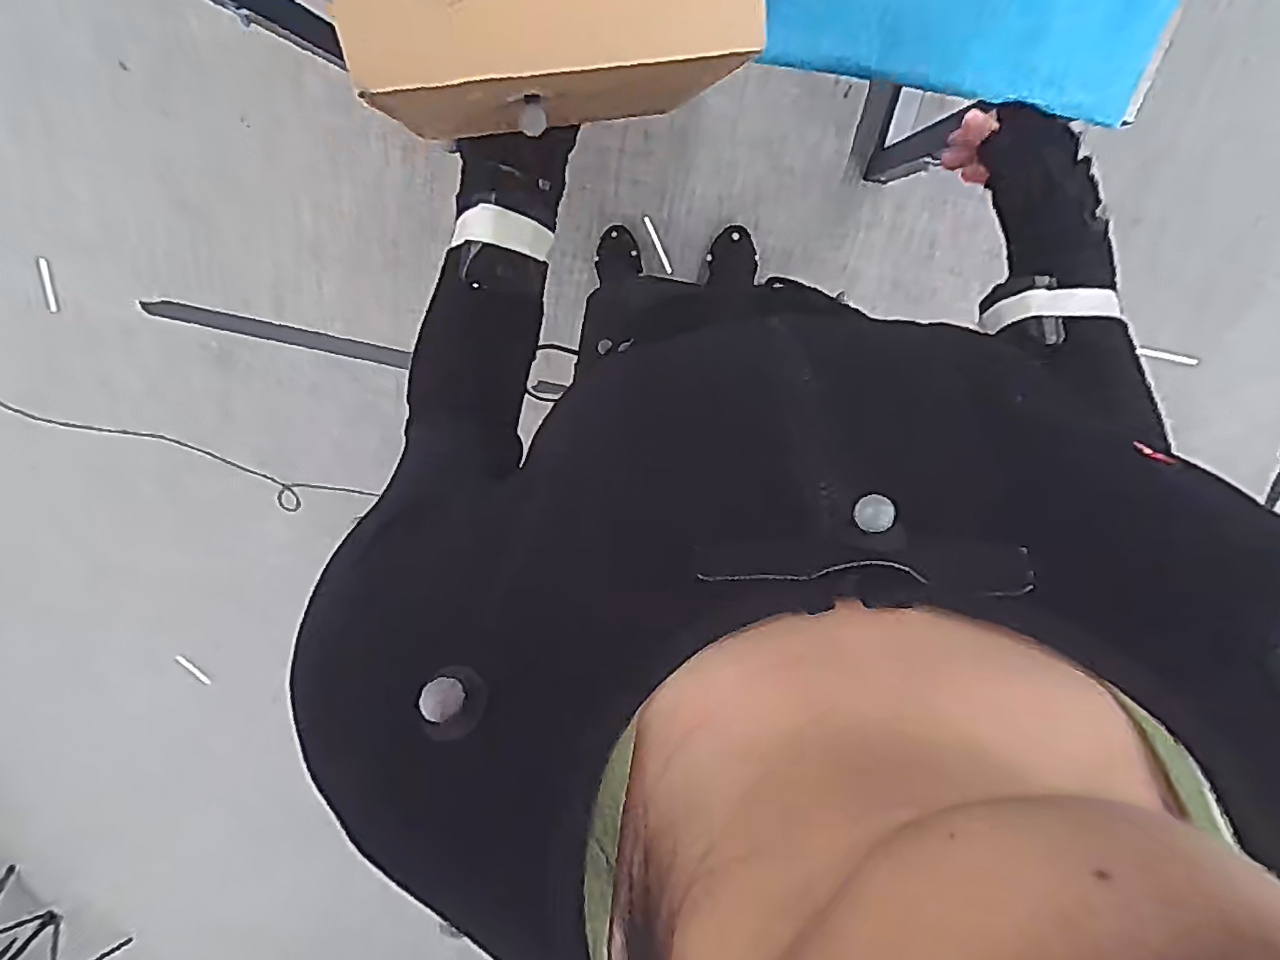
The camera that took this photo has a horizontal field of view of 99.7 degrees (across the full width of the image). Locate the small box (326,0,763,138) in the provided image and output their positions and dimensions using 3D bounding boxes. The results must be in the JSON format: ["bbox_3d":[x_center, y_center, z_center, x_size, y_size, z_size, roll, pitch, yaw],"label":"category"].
[{"bbox_3d":[-0.057,-0.280,0.261,0.179,0.176,0.168,-13,118,-5],"label":"small box"}]
